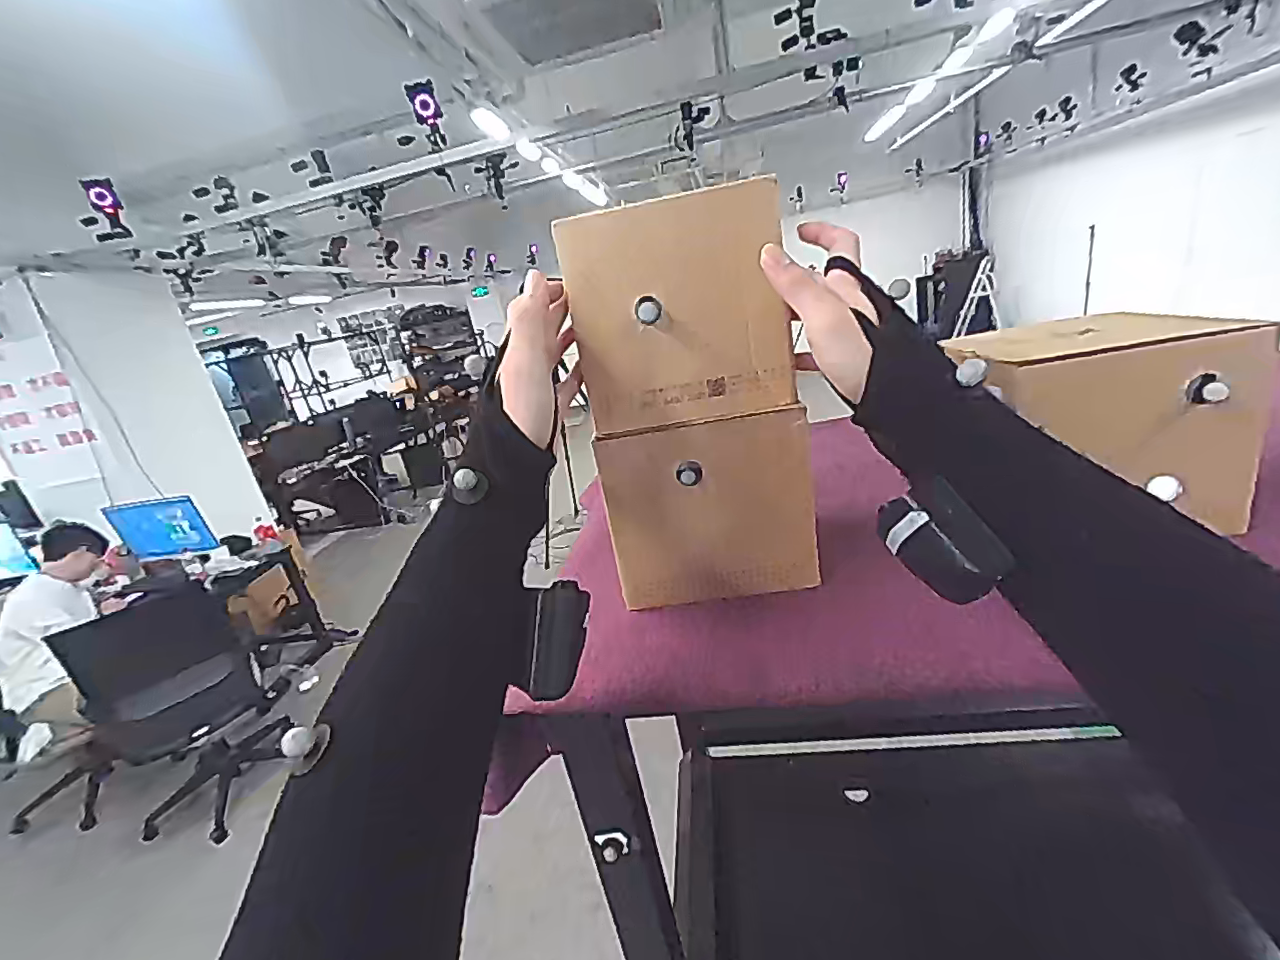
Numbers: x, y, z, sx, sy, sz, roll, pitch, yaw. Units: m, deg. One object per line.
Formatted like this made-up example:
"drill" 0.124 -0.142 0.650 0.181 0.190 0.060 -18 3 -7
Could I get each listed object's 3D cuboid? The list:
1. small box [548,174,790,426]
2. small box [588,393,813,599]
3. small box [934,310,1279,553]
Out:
"small box" 0.033 -0.150 0.490 0.168 0.176 0.179 -9 18 8
"small box" 0.062 0.003 0.535 0.179 0.176 0.168 -8 19 7
"small box" 0.385 -0.049 0.488 0.179 0.176 0.168 -8 18 11
